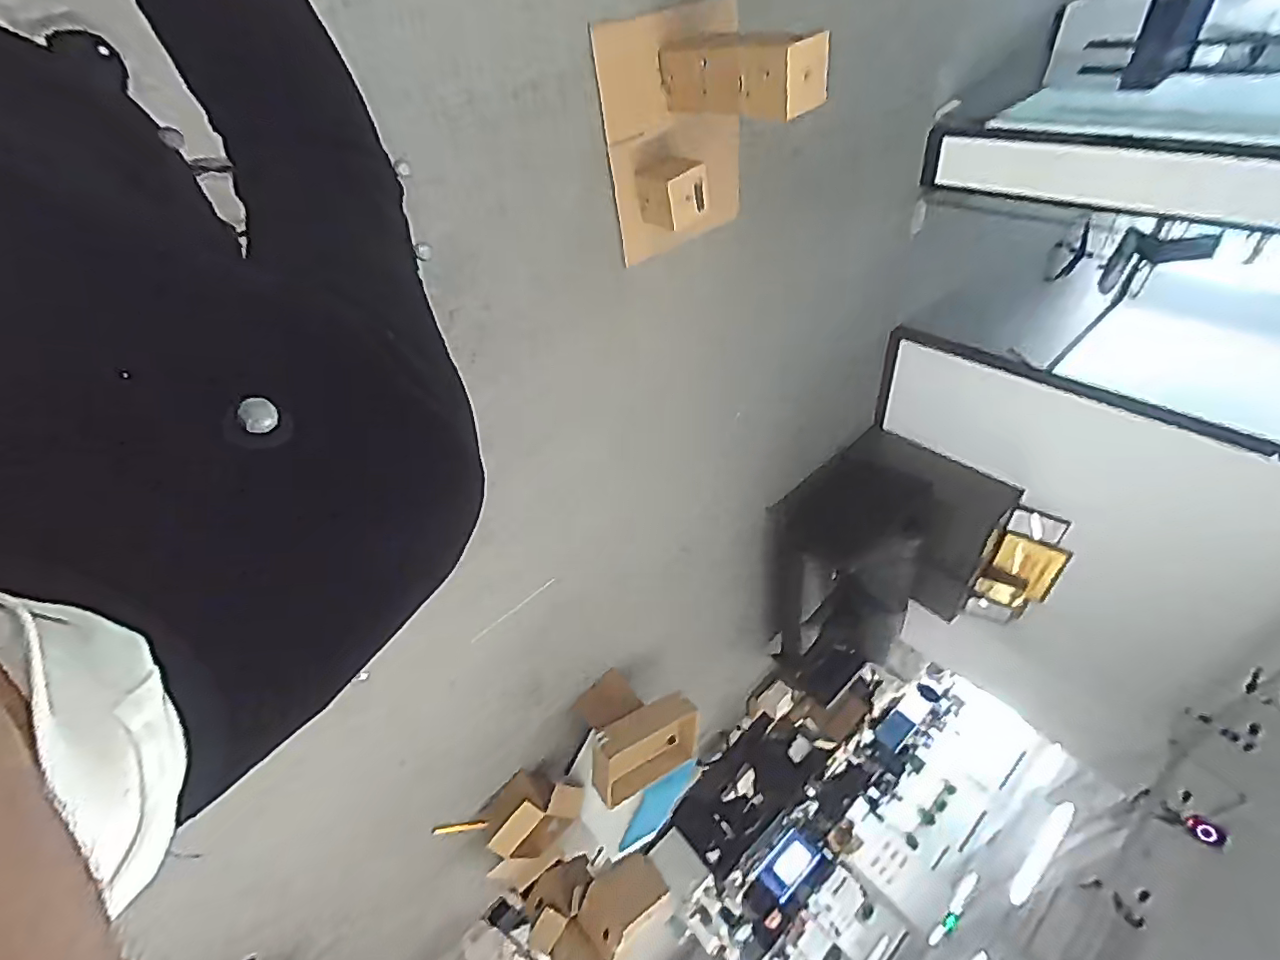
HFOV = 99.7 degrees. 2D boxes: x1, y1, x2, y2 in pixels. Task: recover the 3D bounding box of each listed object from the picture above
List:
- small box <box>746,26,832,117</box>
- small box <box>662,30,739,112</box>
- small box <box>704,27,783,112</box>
[{"bbox_3d":[0.407,-1.132,1.503,0.179,0.176,0.168,-38,139,-21],"label":"small box"},{"bbox_3d":[0.197,-1.286,1.698,0.179,0.176,0.168,-39,140,-17],"label":"small box"},{"bbox_3d":[0.302,-1.210,1.598,0.179,0.176,0.168,-38,139,-21],"label":"small box"}]
